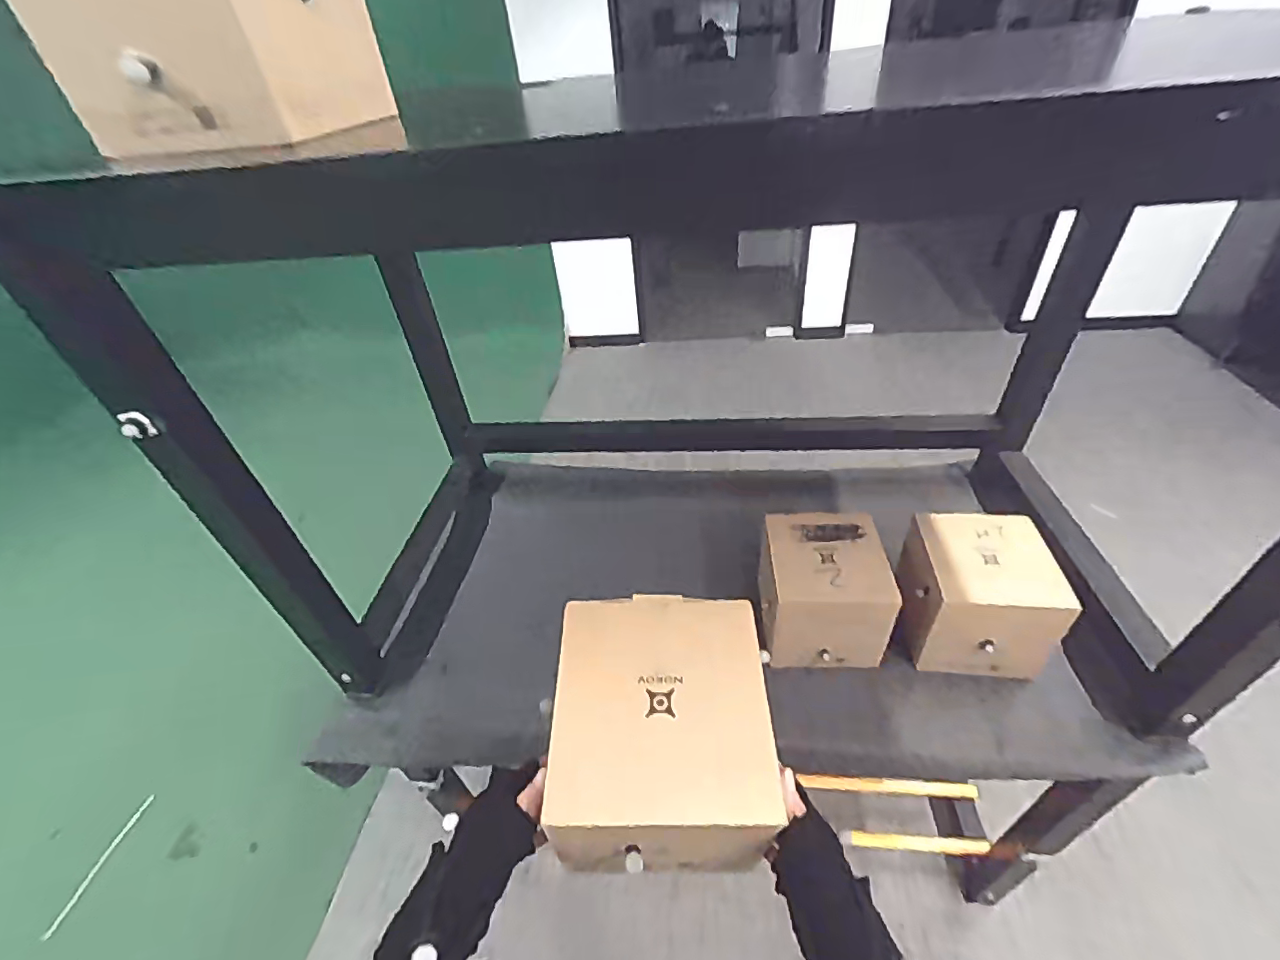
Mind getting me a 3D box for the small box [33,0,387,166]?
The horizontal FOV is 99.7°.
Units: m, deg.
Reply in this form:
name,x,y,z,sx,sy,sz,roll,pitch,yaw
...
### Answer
name,x,y,z,sx,sy,sz,roll,pitch,yaw
small box,-0.333,-0.362,0.433,0.168,0.176,0.179,0,40,8
